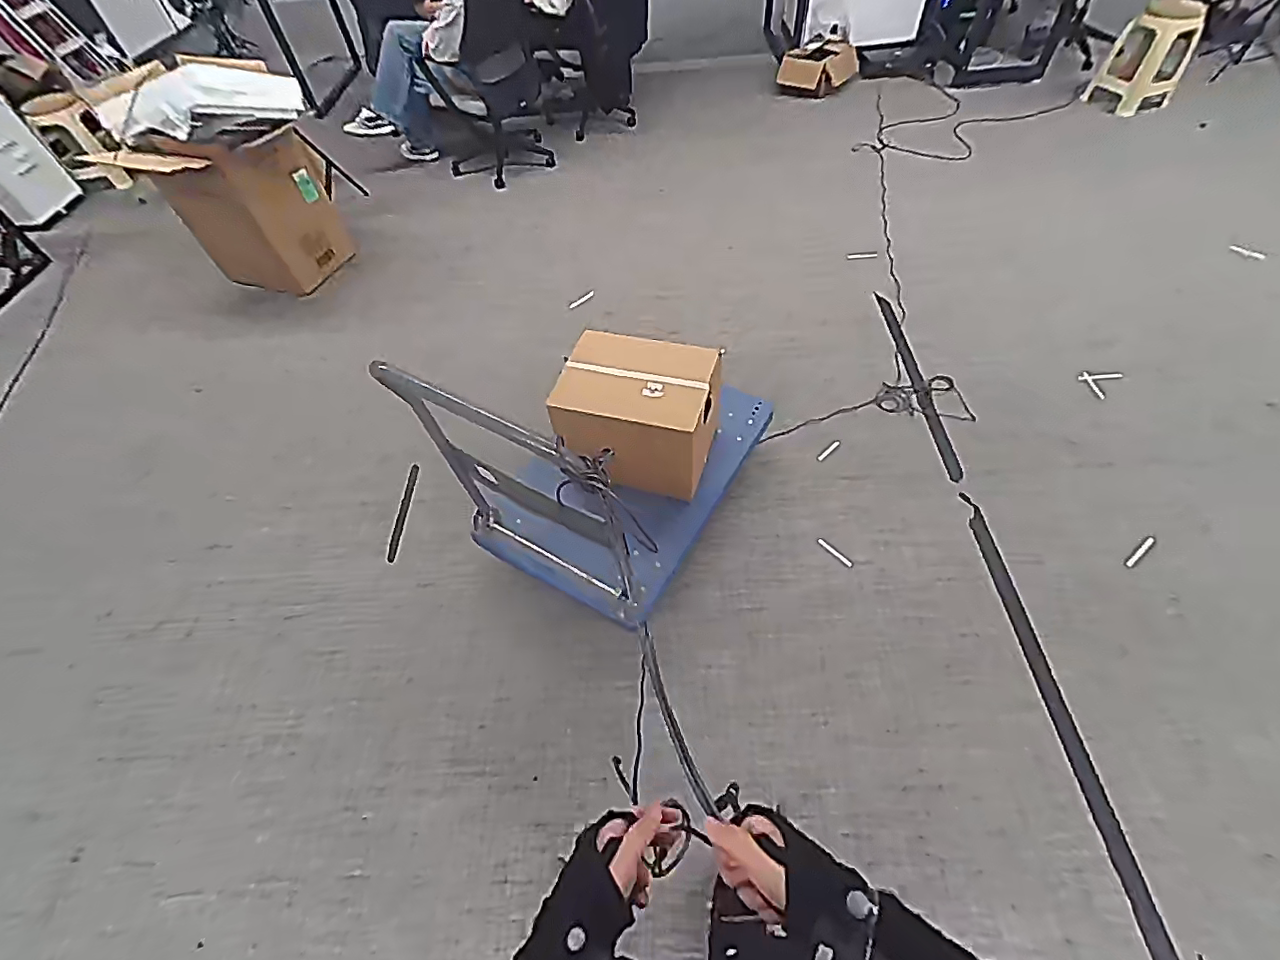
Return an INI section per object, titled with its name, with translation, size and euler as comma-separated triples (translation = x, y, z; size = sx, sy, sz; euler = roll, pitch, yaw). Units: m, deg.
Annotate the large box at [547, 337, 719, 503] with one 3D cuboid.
[large box]
translation = -0.008, -0.172, 1.565
size = 0.408, 0.320, 0.320
euler = 12, 56, 13
